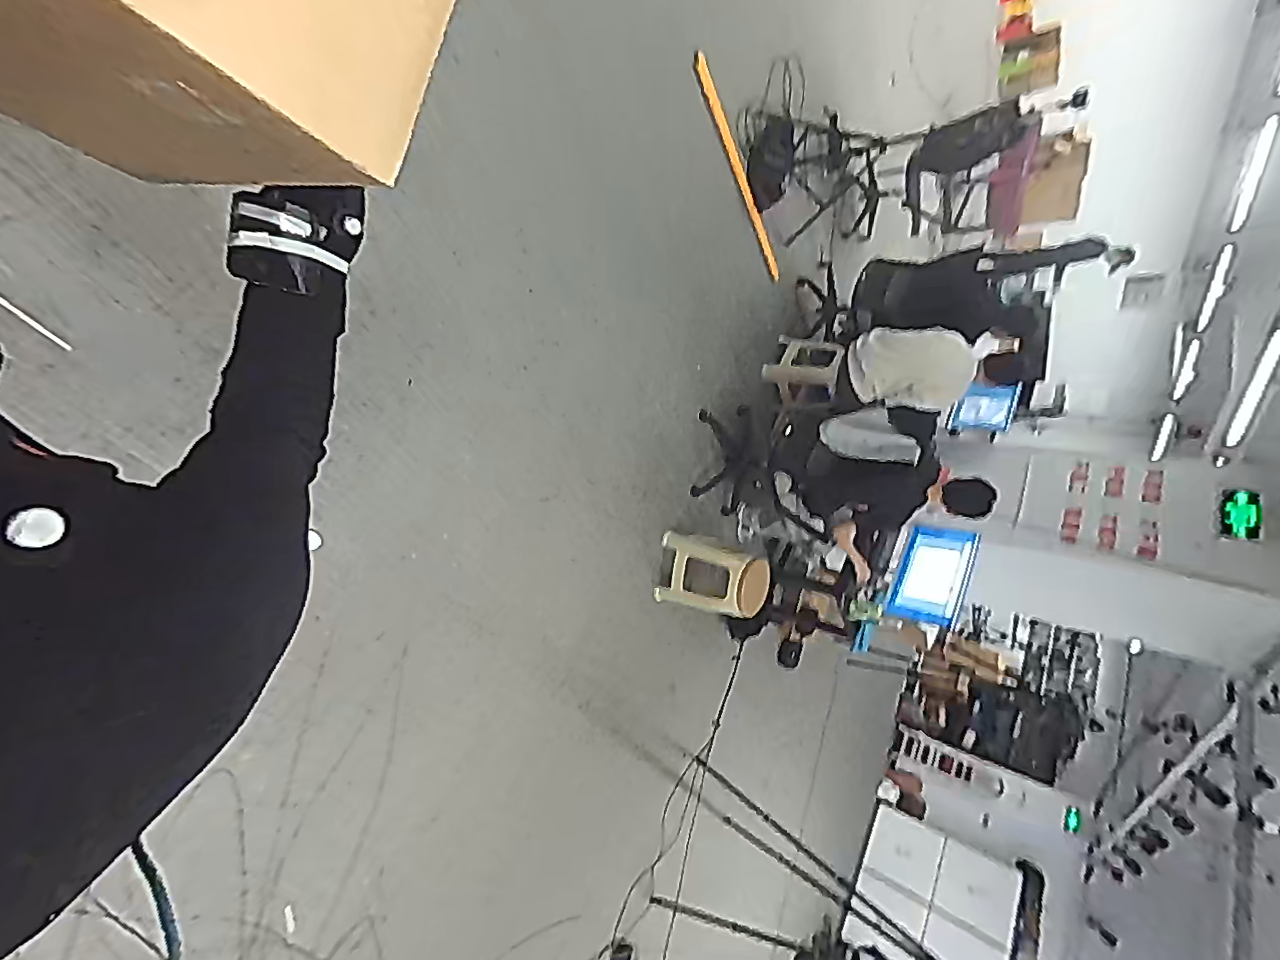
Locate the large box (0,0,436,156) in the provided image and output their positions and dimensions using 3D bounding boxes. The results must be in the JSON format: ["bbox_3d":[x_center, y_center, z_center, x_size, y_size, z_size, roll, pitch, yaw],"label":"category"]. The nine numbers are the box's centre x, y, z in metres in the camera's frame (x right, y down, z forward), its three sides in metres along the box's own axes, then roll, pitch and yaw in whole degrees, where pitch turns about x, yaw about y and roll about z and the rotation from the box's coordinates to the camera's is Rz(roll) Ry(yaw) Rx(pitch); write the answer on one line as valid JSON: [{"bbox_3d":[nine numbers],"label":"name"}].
[{"bbox_3d":[-0.307,-0.380,0.181,0.408,0.320,0.320,15,93,-63],"label":"large box"}]
